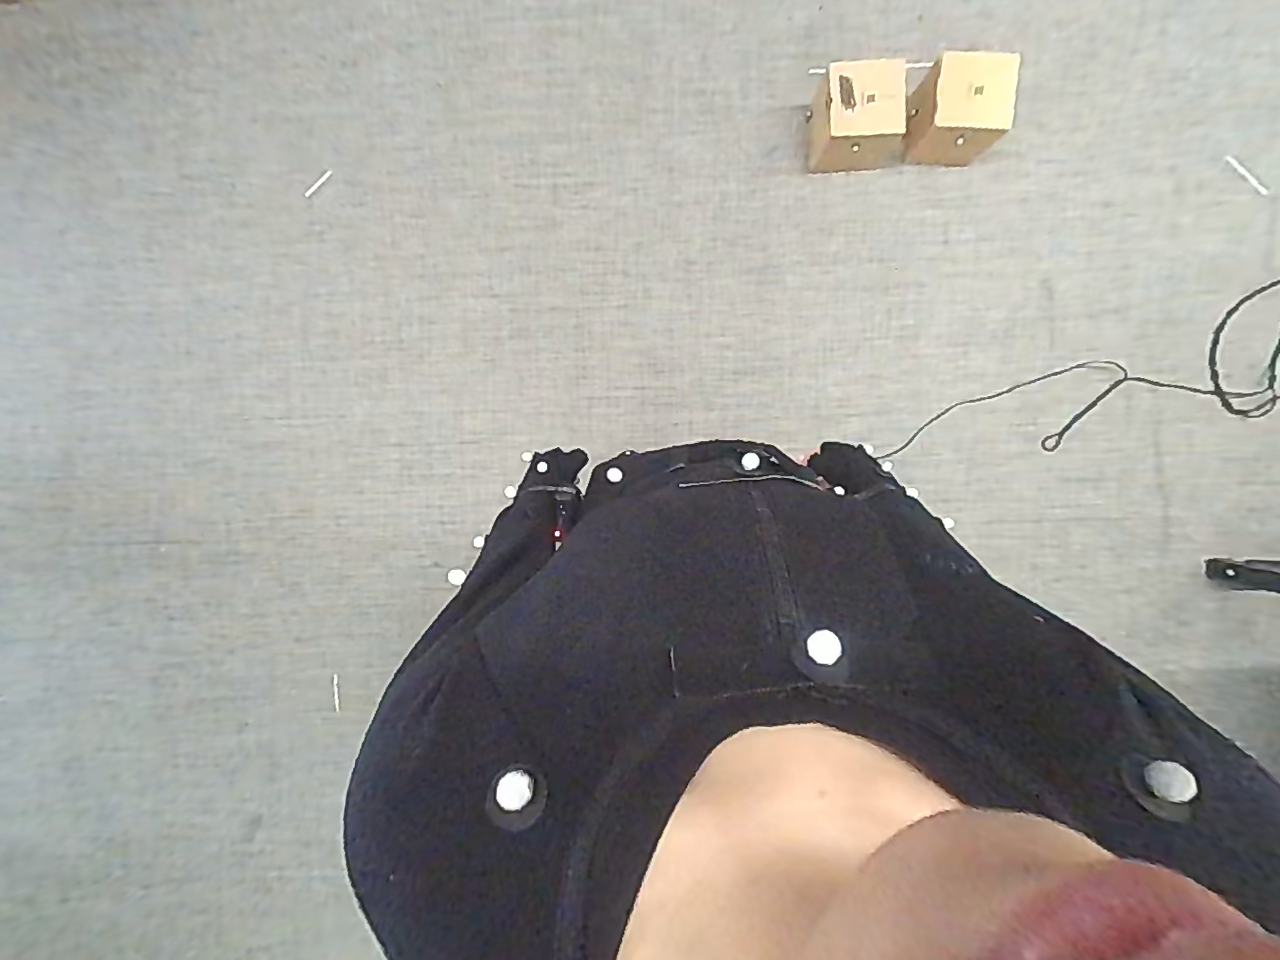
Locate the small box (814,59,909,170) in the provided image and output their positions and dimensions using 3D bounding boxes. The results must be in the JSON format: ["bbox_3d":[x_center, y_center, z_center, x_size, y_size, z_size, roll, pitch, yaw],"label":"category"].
[{"bbox_3d":[0.530,-0.877,1.314,0.179,0.176,0.168,-2,94,2],"label":"small box"}]

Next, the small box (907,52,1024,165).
[{"bbox_3d":[0.775,-0.886,1.303,0.179,0.176,0.168,4,94,3],"label":"small box"}]
